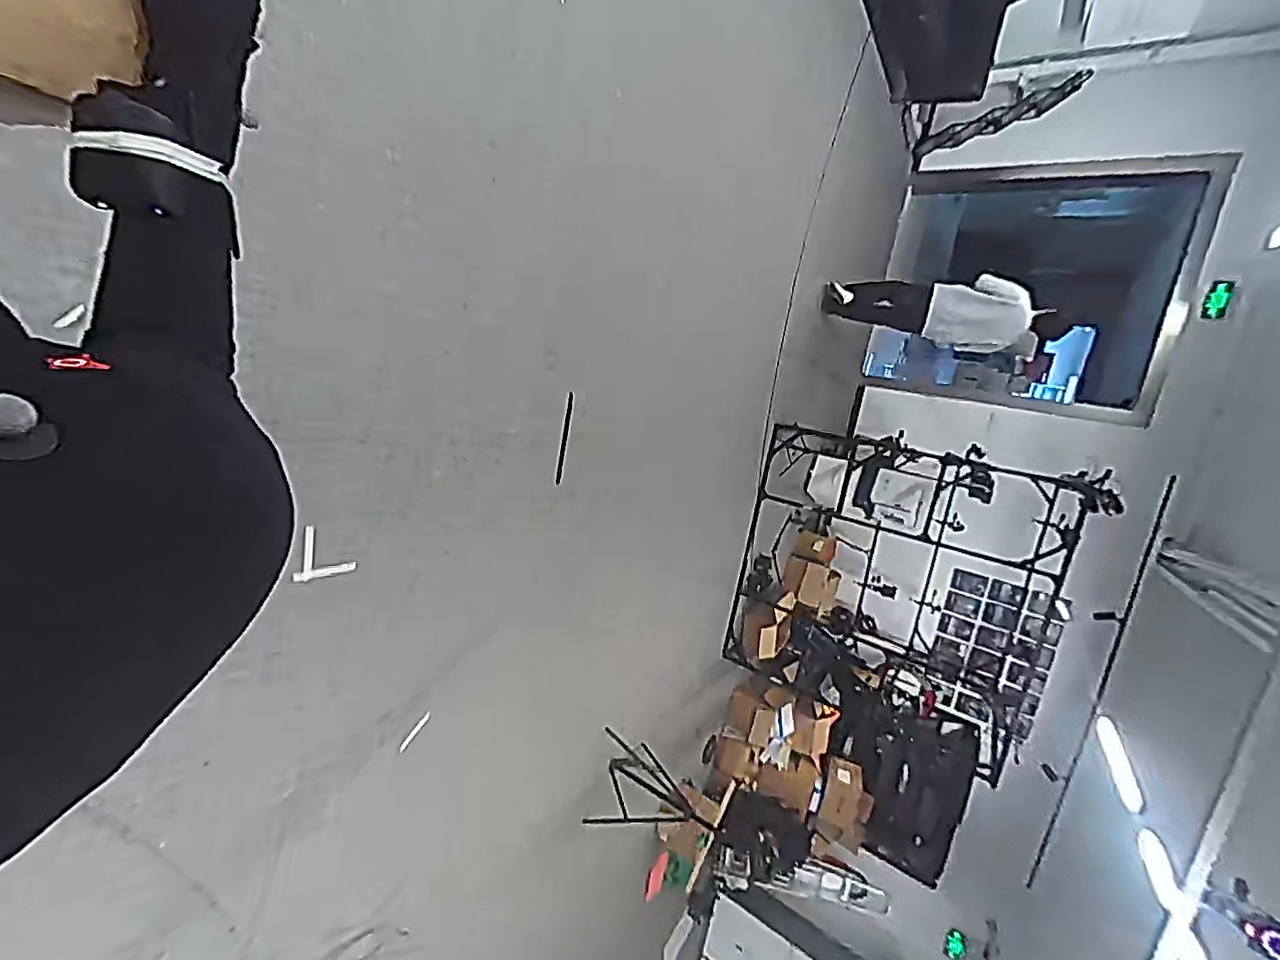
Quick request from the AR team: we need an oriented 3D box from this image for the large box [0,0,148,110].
[{"bbox_3d":[-0.542,-0.434,0.247,0.408,0.320,0.320,-9,117,-60],"label":"large box"}]
